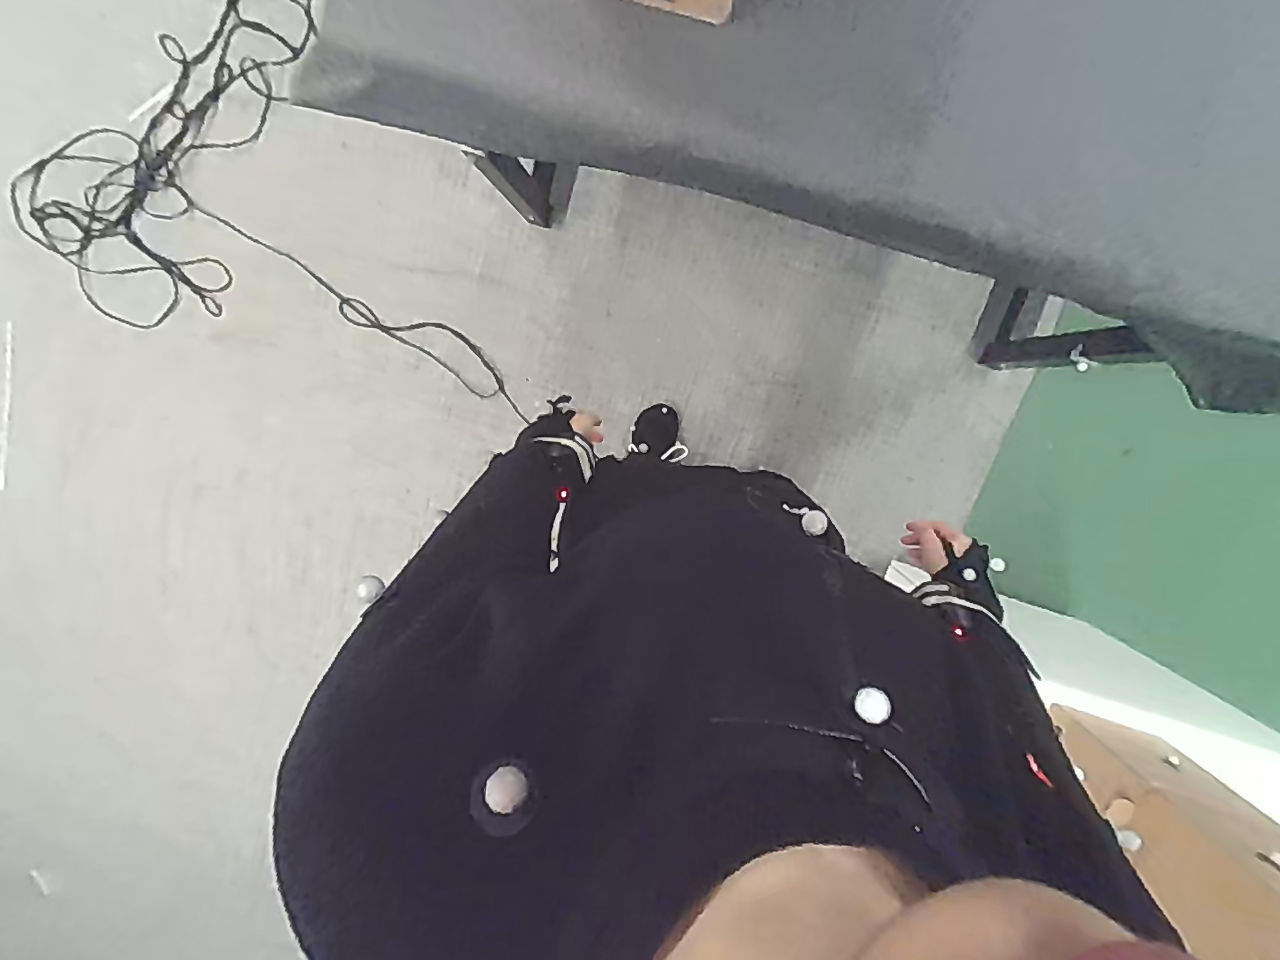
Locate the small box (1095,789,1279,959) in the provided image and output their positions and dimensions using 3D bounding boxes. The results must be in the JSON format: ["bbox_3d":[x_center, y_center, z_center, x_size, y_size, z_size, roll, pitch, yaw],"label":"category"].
[{"bbox_3d":[0.654,0.470,0.576,0.179,0.176,0.168,15,103,-1],"label":"small box"}]

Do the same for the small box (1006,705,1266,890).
[{"bbox_3d":[0.653,0.438,0.736,0.179,0.176,0.168,18,102,-2],"label":"small box"}]
